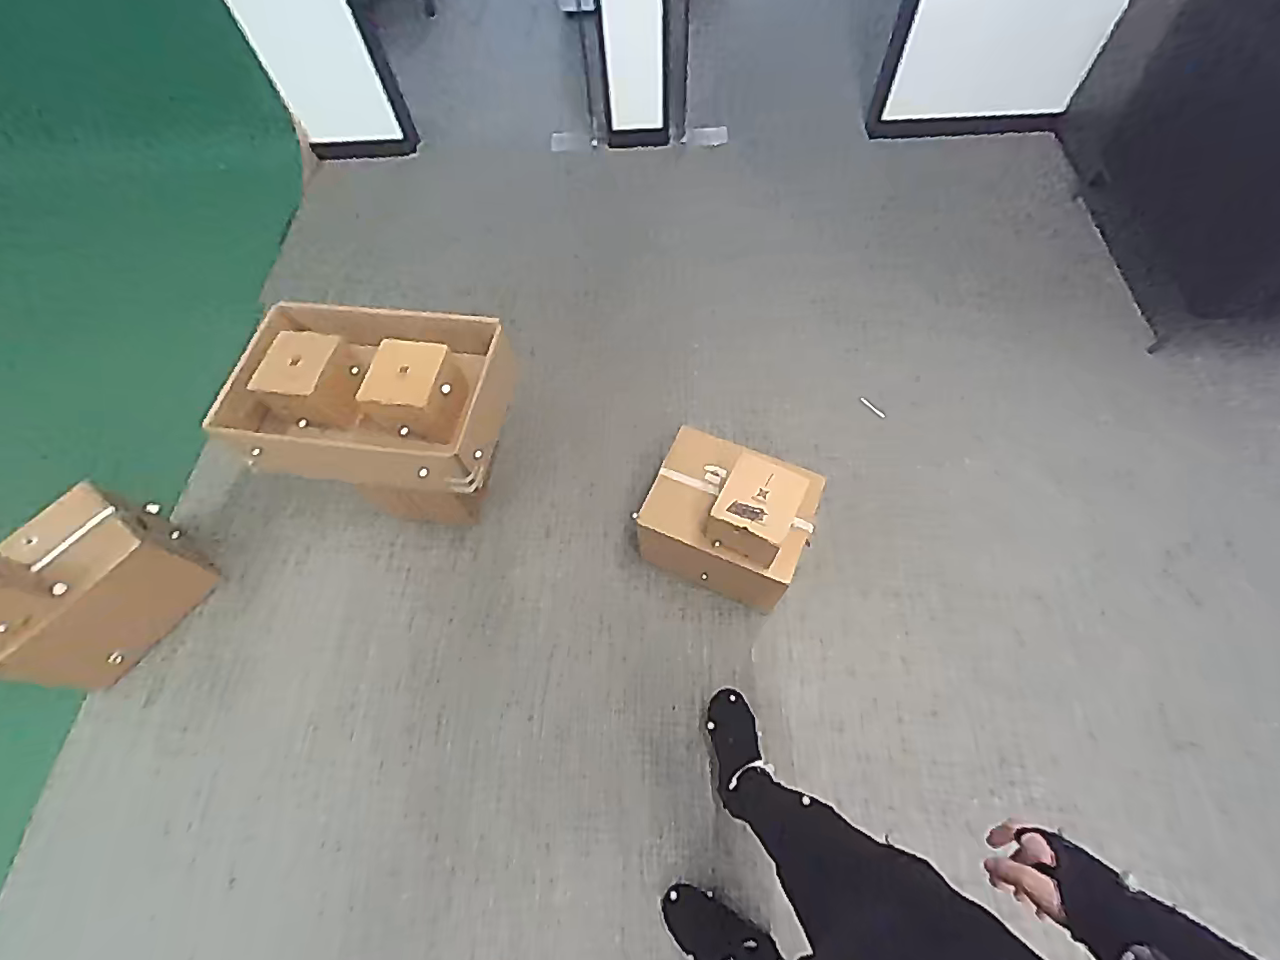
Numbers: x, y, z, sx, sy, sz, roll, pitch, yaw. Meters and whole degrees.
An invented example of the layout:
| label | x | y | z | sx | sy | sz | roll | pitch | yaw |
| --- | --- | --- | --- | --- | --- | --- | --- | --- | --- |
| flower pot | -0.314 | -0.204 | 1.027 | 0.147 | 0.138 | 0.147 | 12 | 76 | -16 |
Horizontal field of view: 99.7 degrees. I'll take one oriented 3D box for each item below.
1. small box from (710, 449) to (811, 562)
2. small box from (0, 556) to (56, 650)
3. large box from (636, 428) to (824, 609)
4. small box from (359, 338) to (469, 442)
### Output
| label | x | y | z | sx | sy | sz | roll | pitch | yaw |
| --- | --- | --- | --- | --- | --- | --- | --- | --- | --- |
| small box | 0.268 | 0.065 | 1.240 | 0.168 | 0.176 | 0.179 | 25 | 68 | 14 |
| small box | -1.509 | 0.269 | 1.219 | 0.179 | 0.176 | 0.168 | 33 | 69 | 16 |
| large box | 0.240 | 0.115 | 1.492 | 0.408 | 0.320 | 0.320 | 21 | 65 | 14 |
| small box | -0.532 | -0.215 | 1.303 | 0.168 | 0.176 | 0.179 | 7 | 65 | 6 |
